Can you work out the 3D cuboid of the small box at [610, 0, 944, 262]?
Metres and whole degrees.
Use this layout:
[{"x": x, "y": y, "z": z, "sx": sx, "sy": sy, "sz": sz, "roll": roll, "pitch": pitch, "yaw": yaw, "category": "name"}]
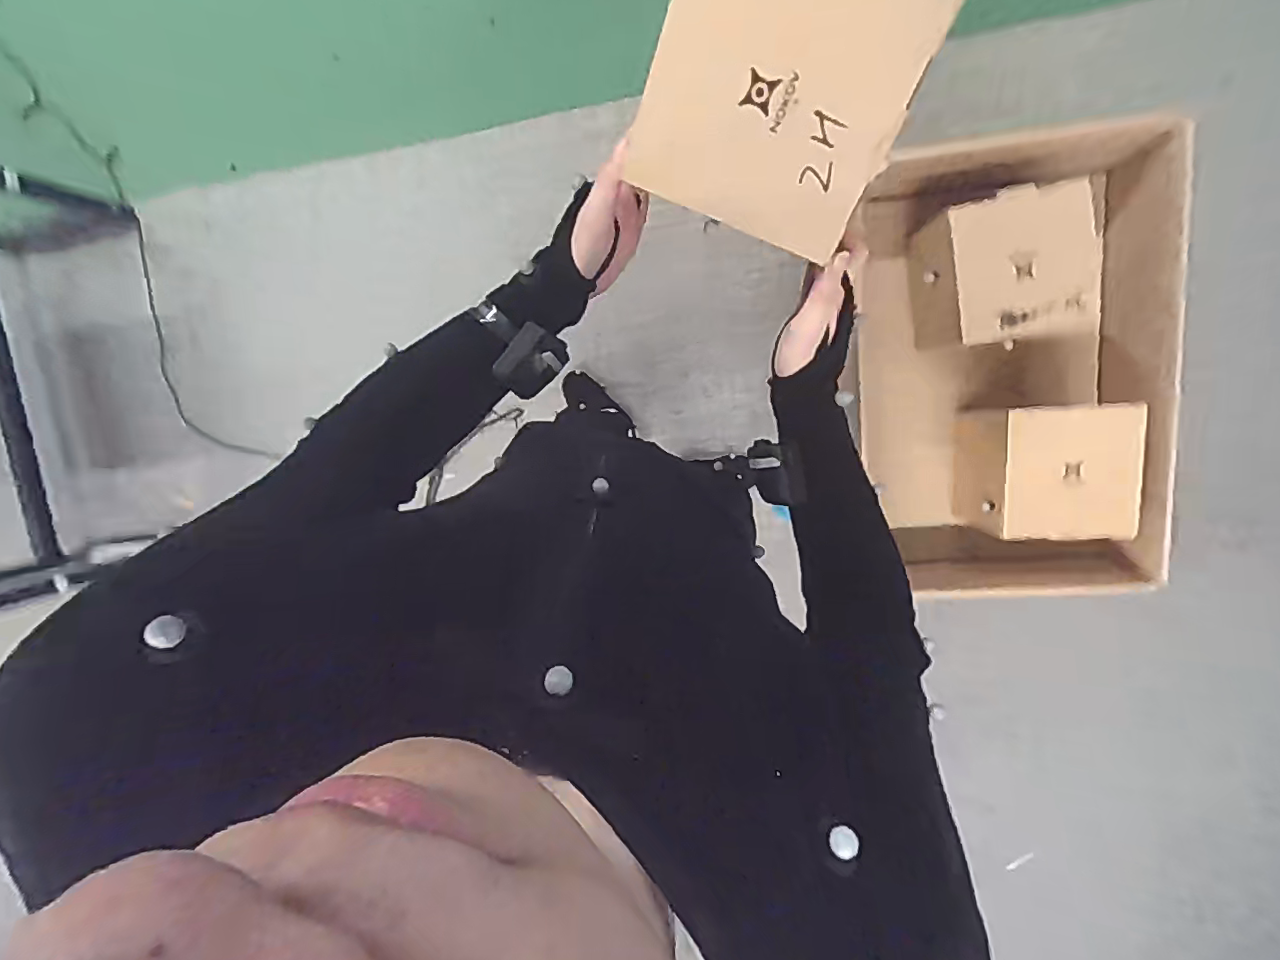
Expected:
[{"x": 0.101, "y": -0.298, "z": 0.442, "sx": 0.179, "sy": 0.176, "sz": 0.168, "roll": 24, "pitch": 121, "yaw": 2, "category": "small box"}]
